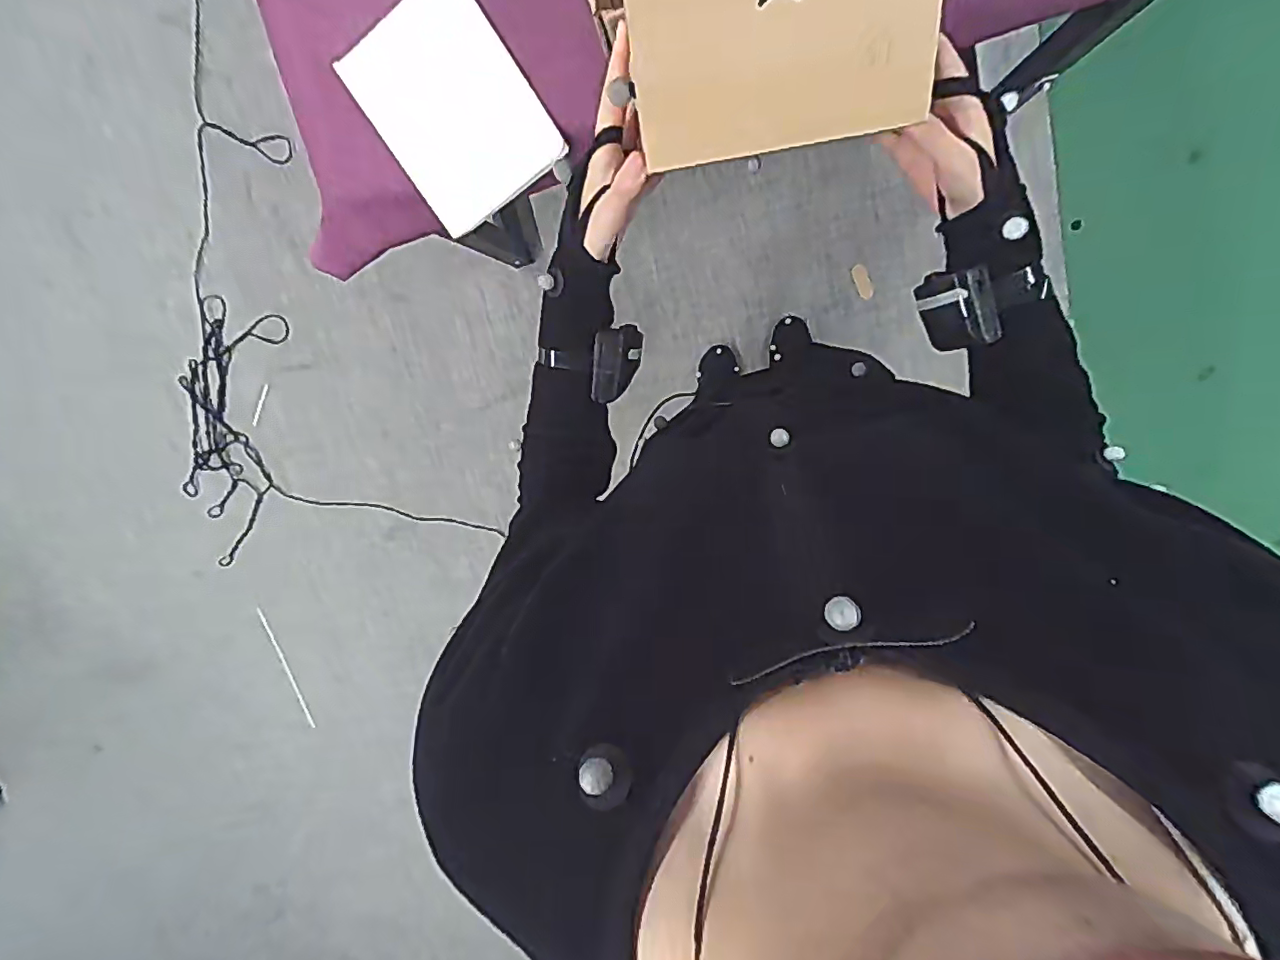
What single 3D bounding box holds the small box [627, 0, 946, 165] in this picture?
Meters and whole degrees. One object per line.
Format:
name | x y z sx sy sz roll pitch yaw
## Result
small box | 0.075 -0.312 0.336 0.168 0.176 0.179 -7 122 5
